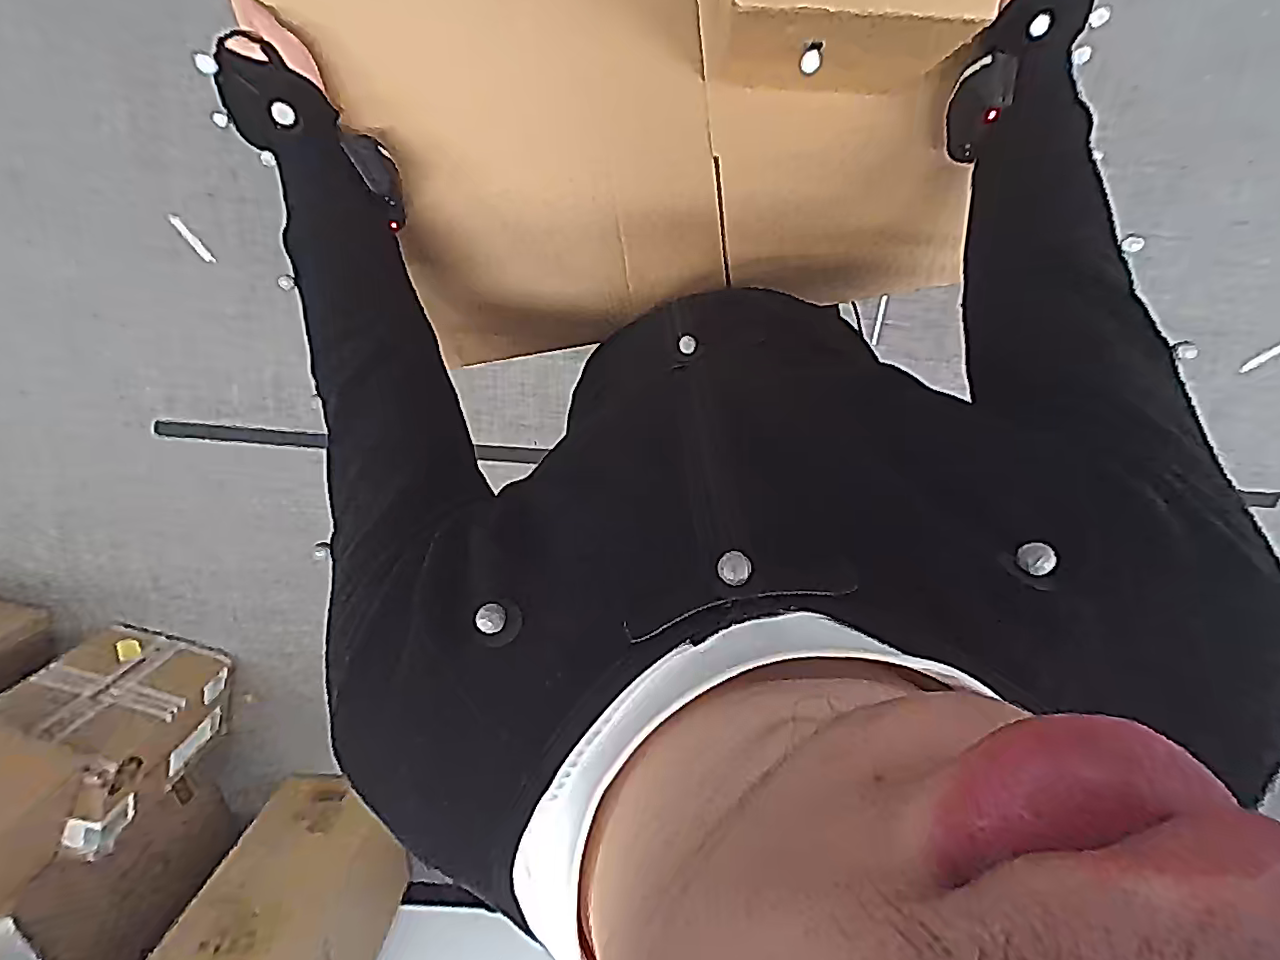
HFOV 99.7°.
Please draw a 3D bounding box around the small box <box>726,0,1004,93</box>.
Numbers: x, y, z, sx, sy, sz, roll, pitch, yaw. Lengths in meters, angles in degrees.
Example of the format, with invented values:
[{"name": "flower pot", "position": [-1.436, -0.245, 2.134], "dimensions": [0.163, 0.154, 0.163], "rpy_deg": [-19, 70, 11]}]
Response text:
[{"name": "small box", "position": [0.164, -0.416, 0.408], "dimensions": [0.179, 0.176, 0.168], "rpy_deg": [5, 112, 2]}]
